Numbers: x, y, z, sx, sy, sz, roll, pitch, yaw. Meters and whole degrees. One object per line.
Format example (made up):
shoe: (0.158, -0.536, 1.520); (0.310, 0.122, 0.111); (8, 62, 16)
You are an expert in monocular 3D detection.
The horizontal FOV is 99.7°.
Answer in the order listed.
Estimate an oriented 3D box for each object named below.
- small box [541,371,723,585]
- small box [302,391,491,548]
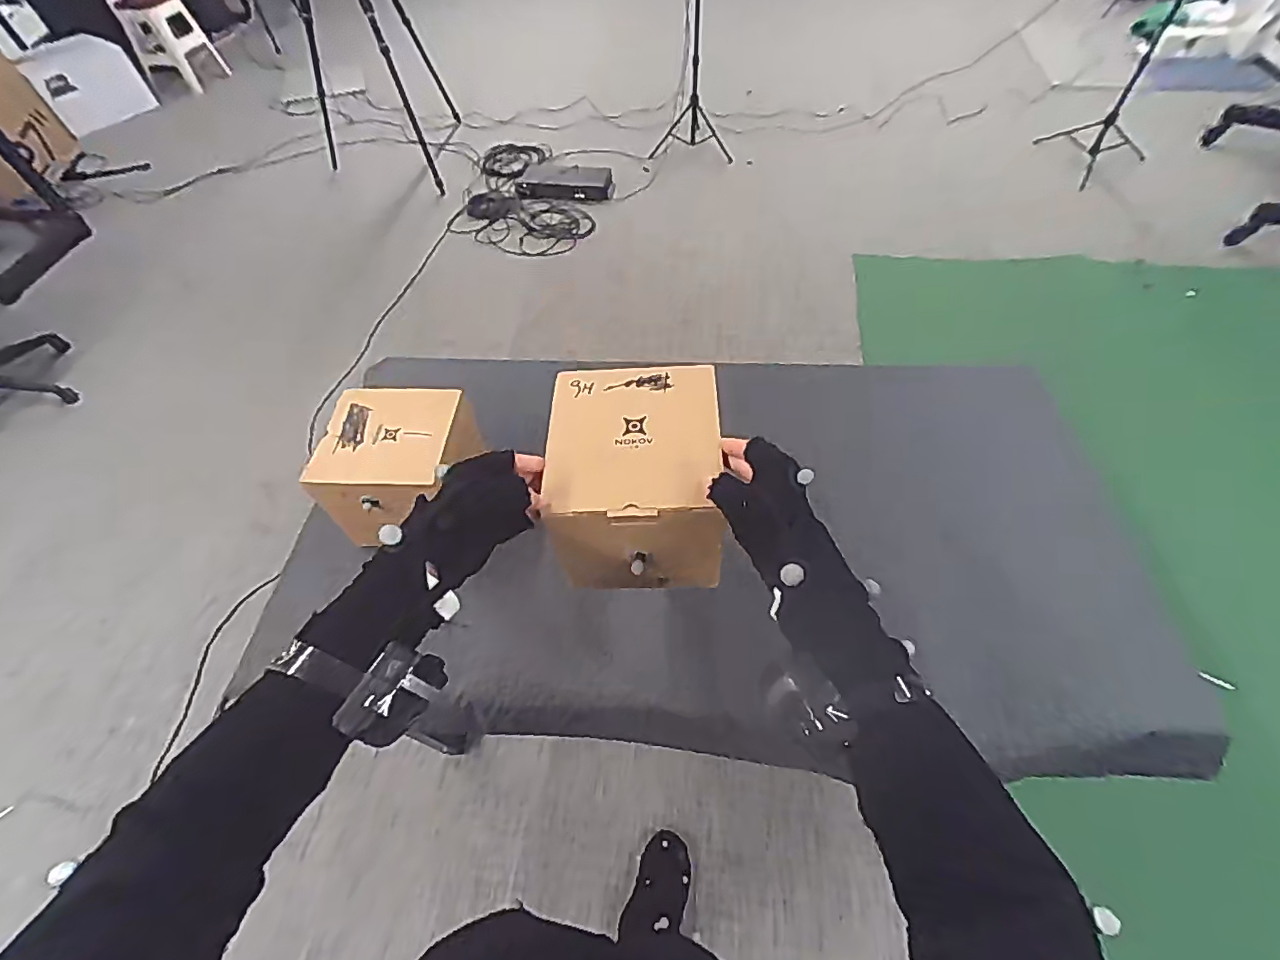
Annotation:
small box: (0.001, 0.006, 0.583); (0.168, 0.176, 0.179); (-2, 57, 4)
small box: (-0.335, -0.011, 0.785); (0.179, 0.176, 0.168); (1, 55, 2)
